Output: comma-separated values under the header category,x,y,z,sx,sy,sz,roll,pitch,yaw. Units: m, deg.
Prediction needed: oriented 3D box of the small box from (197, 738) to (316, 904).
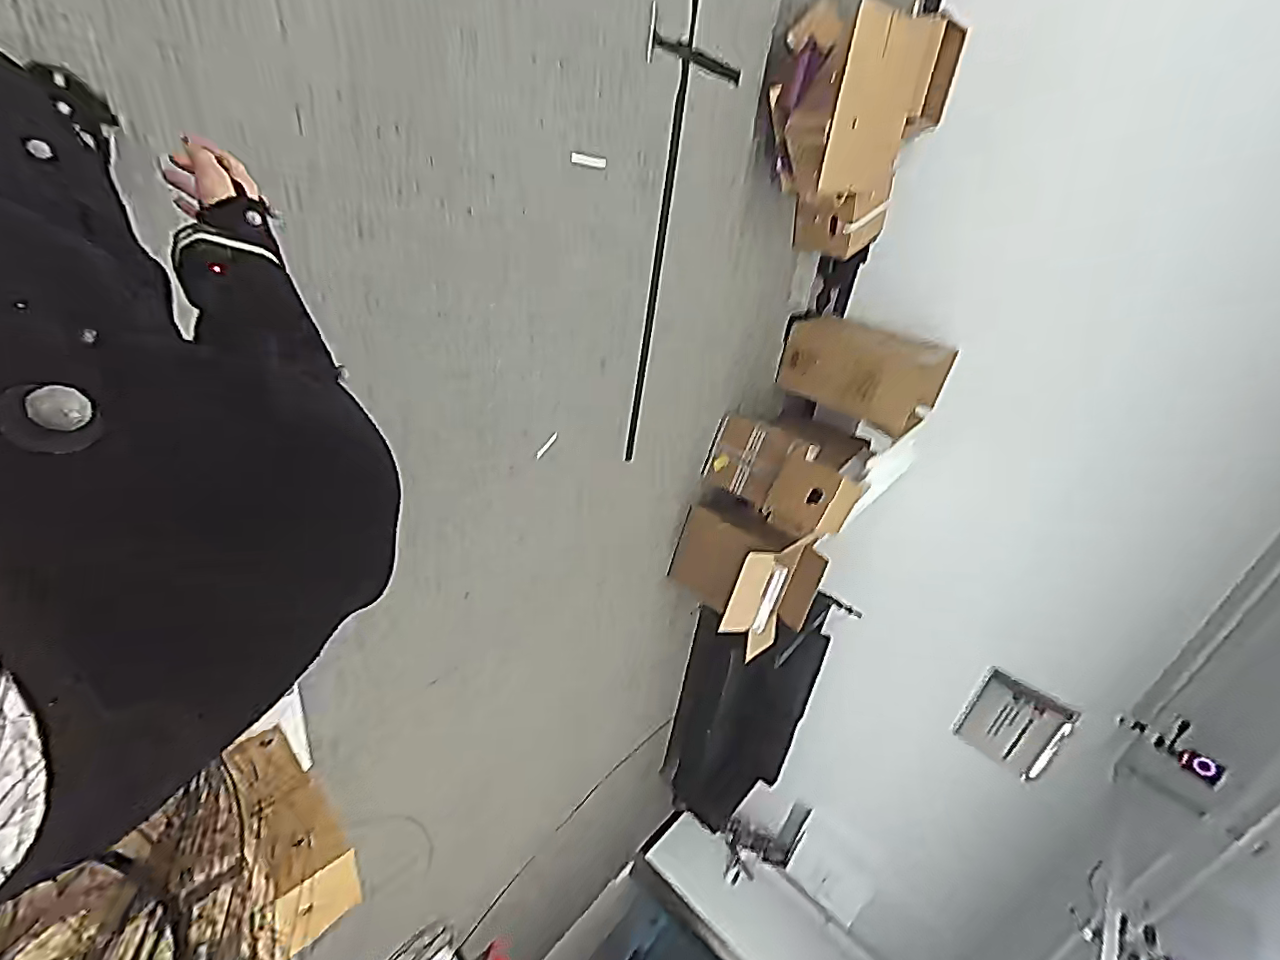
category,x,y,z,sx,sy,sz,roll,pitch,yaw
small box,-0.727,0.622,1.016,0.168,0.176,0.179,-18,128,-46

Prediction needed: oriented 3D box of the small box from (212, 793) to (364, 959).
category,x,y,z,sx,sy,sz,roll,pitch,yaw
small box,-0.603,0.684,0.932,0.168,0.176,0.179,-21,130,-44

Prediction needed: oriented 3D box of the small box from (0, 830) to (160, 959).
category,x,y,z,sx,sy,sz,roll,pitch,yaw
small box,-0.889,0.674,0.840,0.168,0.176,0.179,-22,129,-47

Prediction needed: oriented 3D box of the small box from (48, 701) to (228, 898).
category,x,y,z,sx,sy,sz,roll,pitch,yaw
small box,-0.777,0.478,0.843,0.168,0.176,0.179,-18,129,-47
